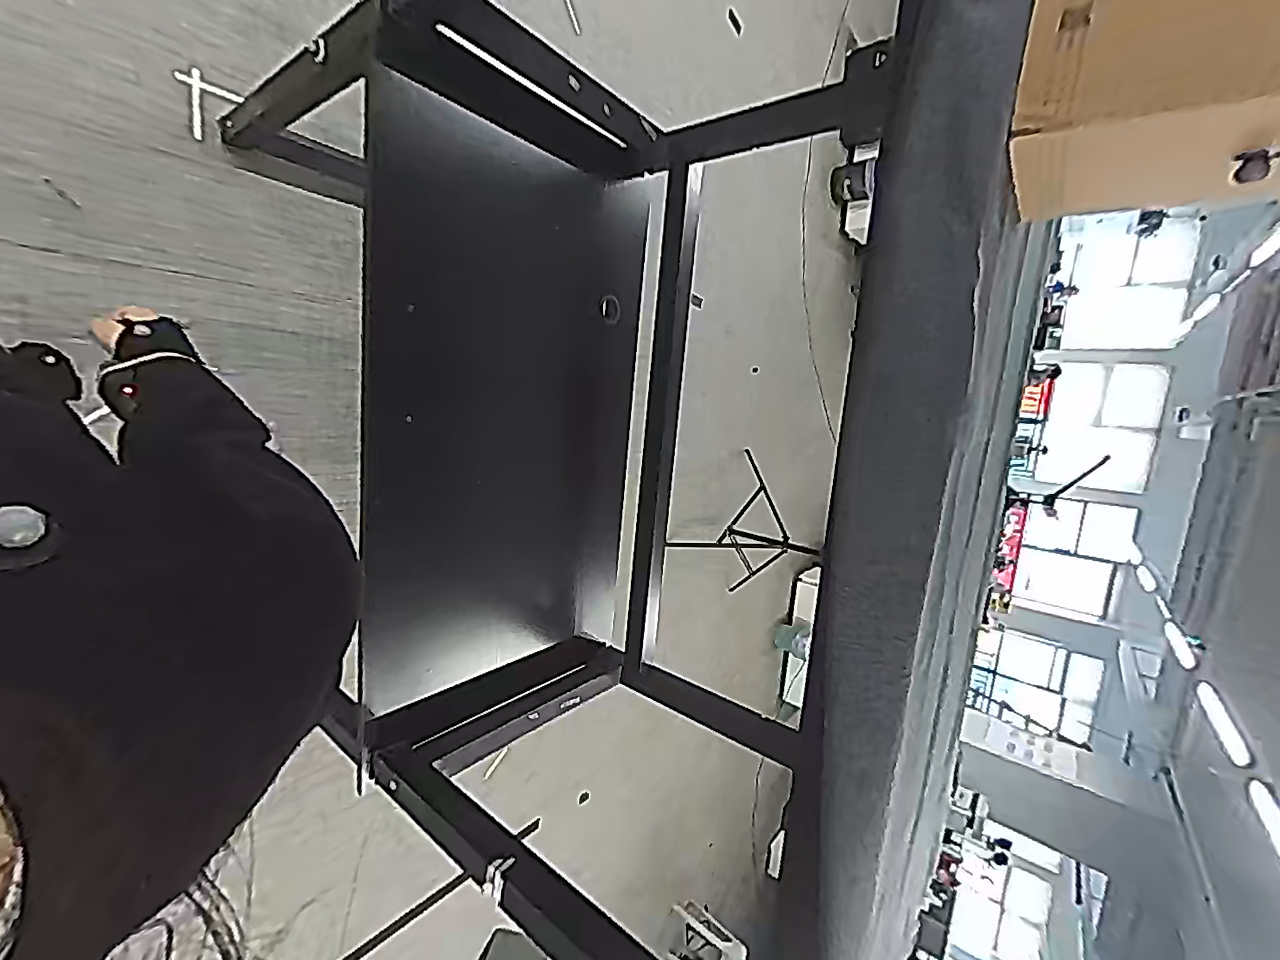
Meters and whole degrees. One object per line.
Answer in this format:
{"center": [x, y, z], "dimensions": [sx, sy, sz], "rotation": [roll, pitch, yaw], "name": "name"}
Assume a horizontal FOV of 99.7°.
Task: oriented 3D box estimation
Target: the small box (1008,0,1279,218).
{"center": [0.361, -0.286, 0.356], "dimensions": [0.179, 0.176, 0.168], "rotation": [-7, 106, -53], "name": "small box"}
